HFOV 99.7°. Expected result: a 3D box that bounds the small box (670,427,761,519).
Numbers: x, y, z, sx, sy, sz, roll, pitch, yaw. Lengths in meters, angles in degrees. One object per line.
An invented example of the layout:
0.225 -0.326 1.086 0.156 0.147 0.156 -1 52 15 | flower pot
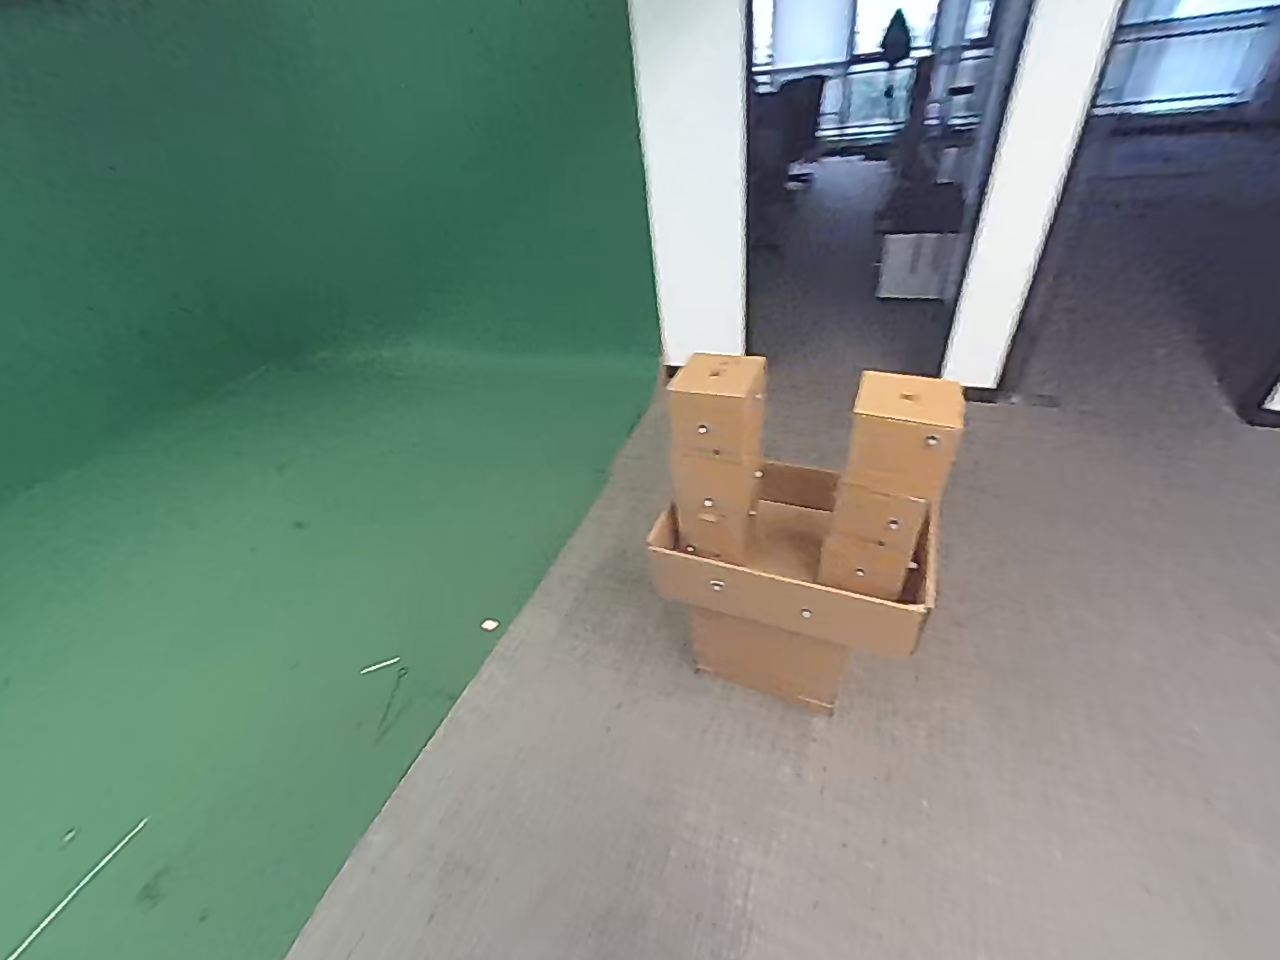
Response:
0.185 -0.027 1.301 0.179 0.176 0.168 9 41 21 | small box

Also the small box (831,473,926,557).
0.516 0.036 1.156 0.168 0.176 0.179 15 43 26 | small box

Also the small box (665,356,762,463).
0.170 -0.157 1.200 0.168 0.176 0.179 10 42 22 | small box

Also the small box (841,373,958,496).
0.500 -0.088 1.053 0.179 0.176 0.168 12 43 21 | small box
